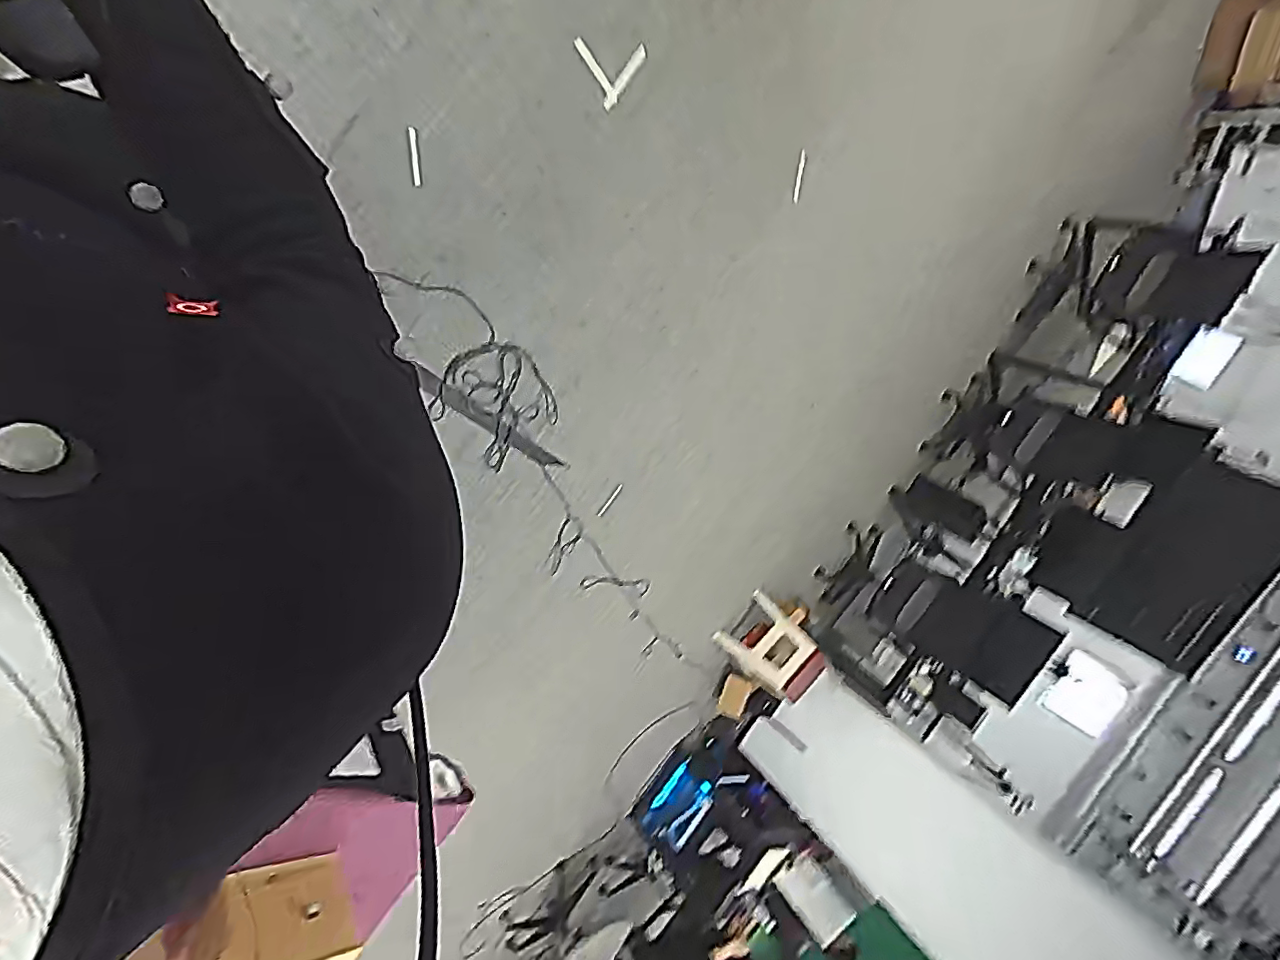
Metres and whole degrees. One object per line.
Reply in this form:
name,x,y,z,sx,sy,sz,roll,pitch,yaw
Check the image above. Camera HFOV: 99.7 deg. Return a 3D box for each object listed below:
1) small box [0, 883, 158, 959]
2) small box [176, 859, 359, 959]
small box,-0.698,0.612,0.616,0.168,0.176,0.179,-55,139,3
small box,-0.563,0.709,0.811,0.168,0.176,0.179,27,98,-48
